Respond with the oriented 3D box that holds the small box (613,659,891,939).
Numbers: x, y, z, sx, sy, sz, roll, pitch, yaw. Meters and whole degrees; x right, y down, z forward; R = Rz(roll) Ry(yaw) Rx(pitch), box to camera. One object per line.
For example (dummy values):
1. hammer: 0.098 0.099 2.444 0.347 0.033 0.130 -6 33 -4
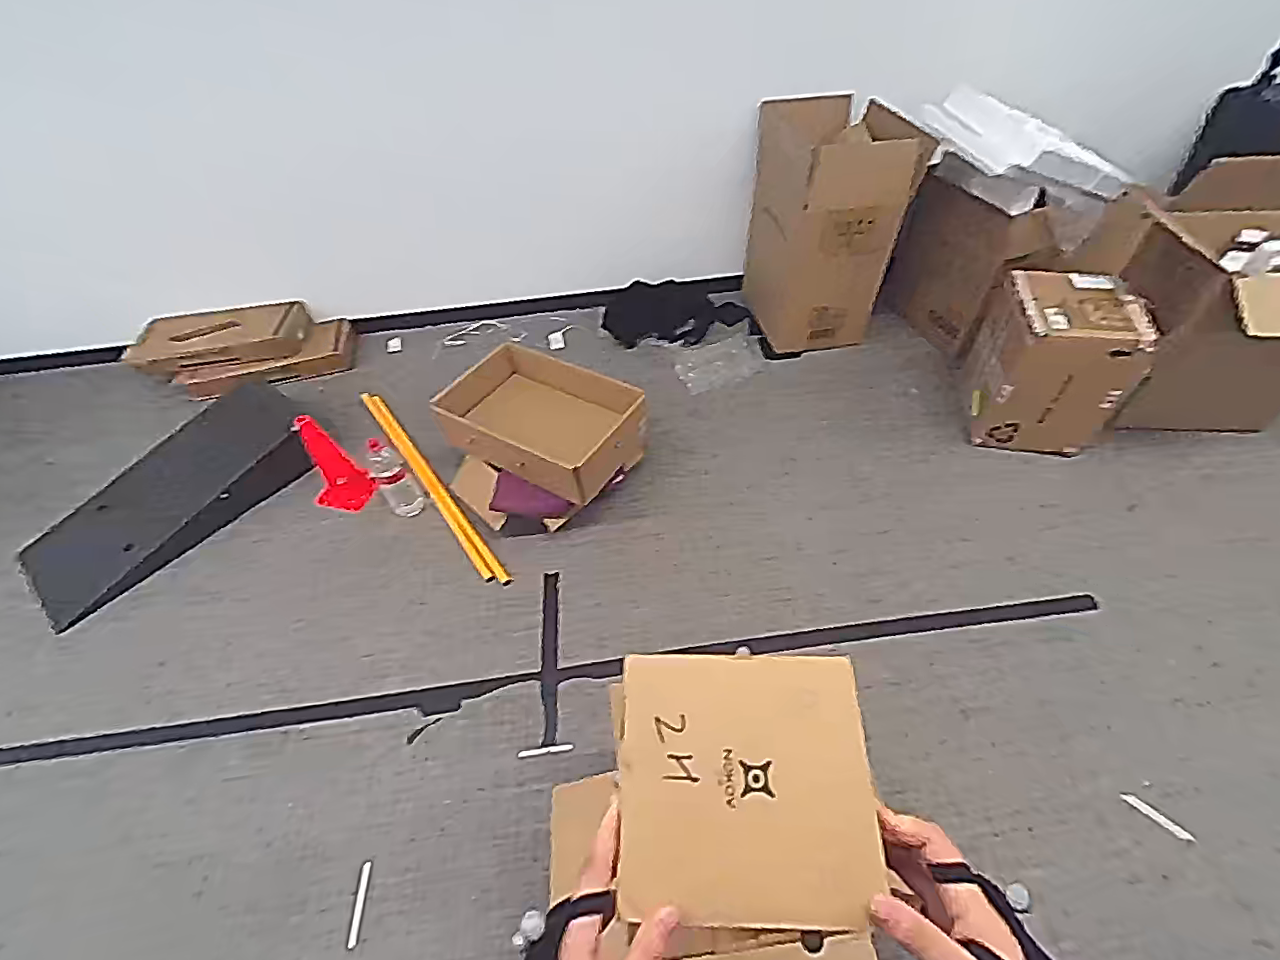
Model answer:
1. small box: 0.076 0.251 0.445 0.179 0.176 0.168 -1 59 4
